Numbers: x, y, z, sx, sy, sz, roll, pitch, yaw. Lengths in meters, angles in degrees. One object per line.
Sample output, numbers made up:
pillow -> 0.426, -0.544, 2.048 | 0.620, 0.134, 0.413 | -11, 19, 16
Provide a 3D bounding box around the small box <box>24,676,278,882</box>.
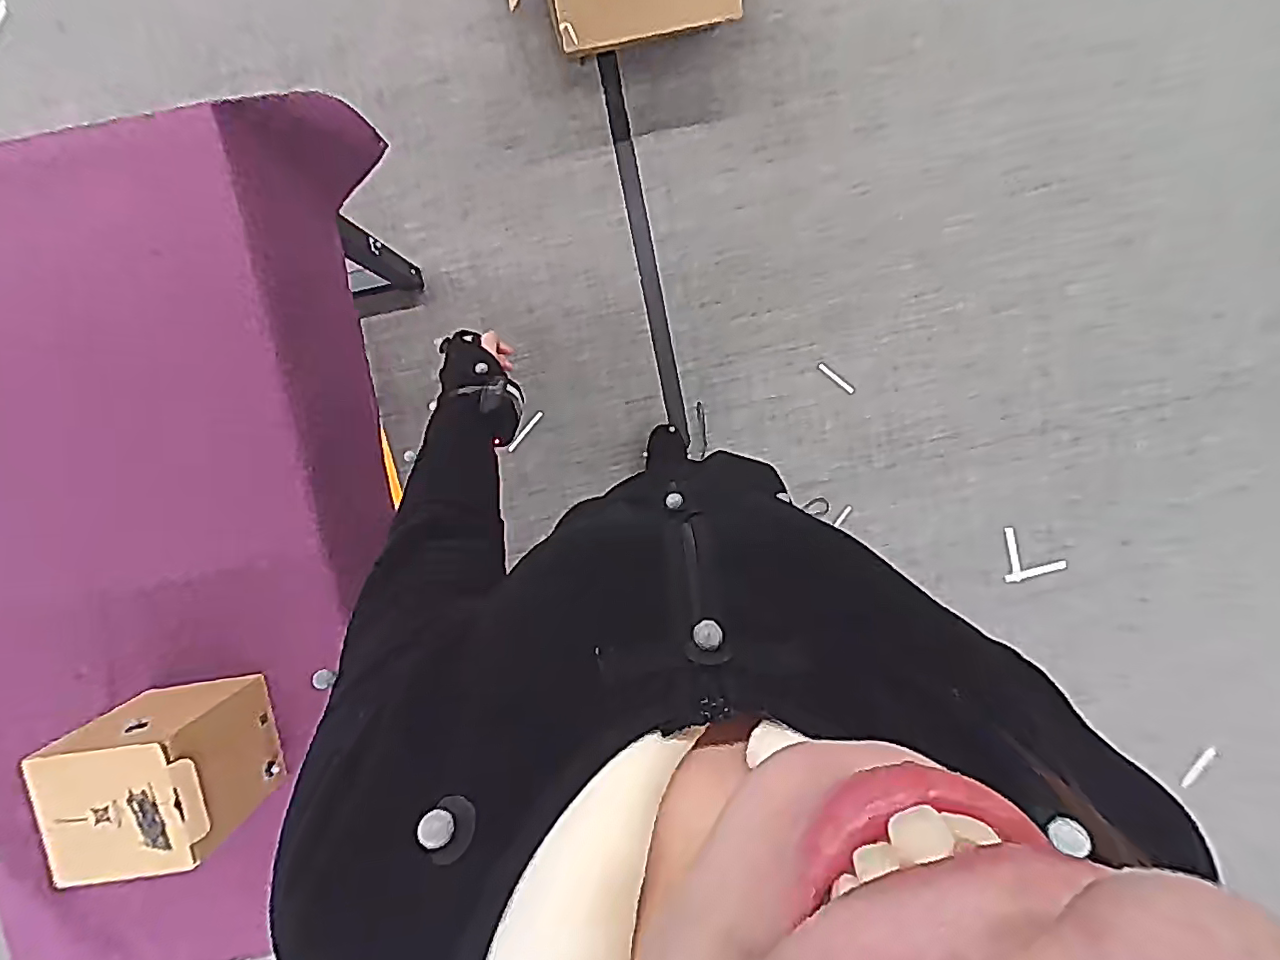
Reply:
small box -> -0.618, 0.379, 0.714 | 0.179, 0.176, 0.168 | -9, 96, 1
